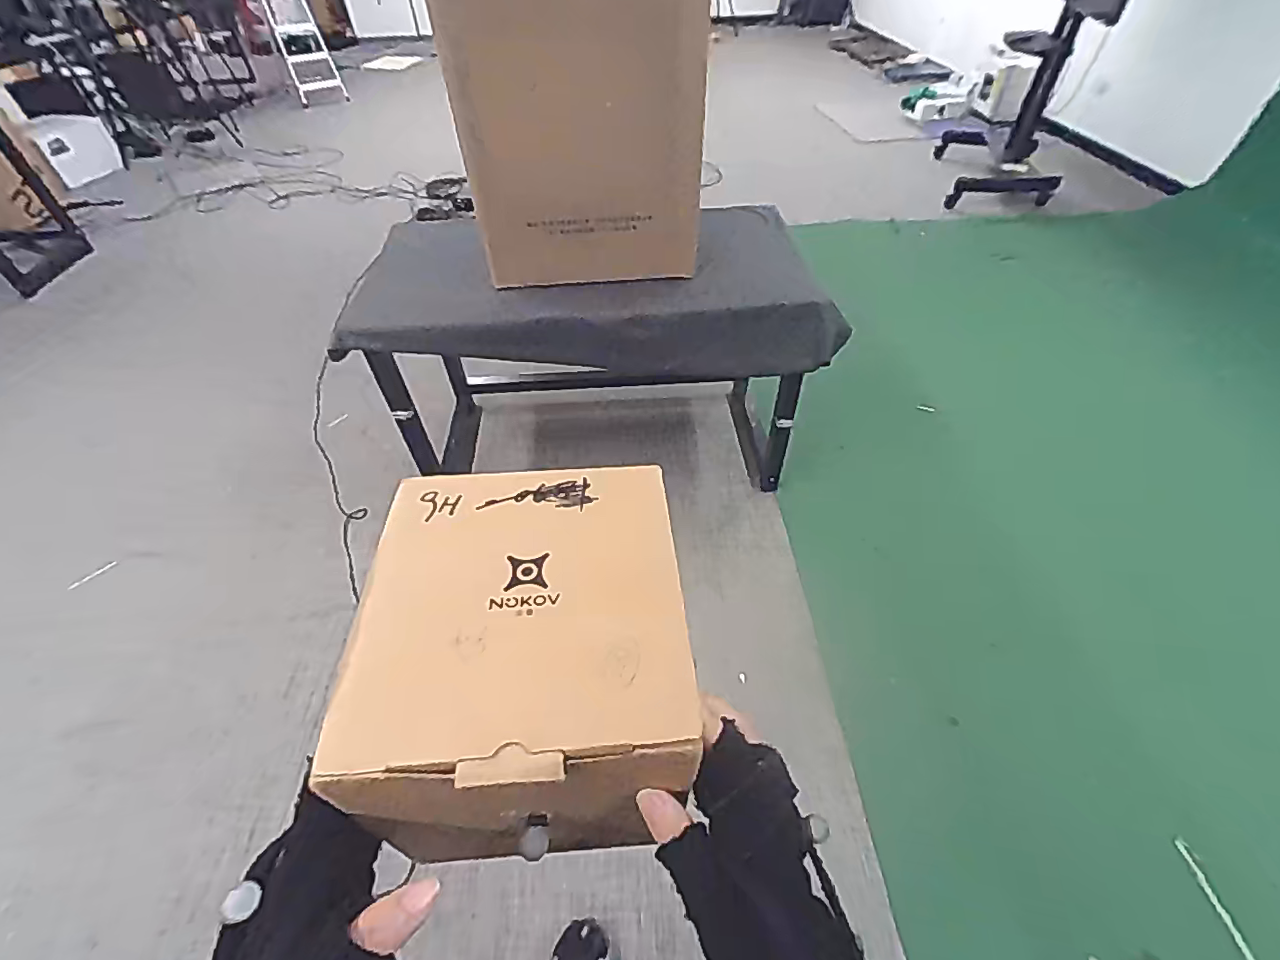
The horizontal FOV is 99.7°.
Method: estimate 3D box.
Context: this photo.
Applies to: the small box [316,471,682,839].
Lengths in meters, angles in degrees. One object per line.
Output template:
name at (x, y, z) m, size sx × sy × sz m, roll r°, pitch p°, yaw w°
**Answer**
small box at (-0.066, 0.116, 0.351) m, size 0.168 × 0.176 × 0.179 m, roll -3°, pitch 46°, yaw -4°
